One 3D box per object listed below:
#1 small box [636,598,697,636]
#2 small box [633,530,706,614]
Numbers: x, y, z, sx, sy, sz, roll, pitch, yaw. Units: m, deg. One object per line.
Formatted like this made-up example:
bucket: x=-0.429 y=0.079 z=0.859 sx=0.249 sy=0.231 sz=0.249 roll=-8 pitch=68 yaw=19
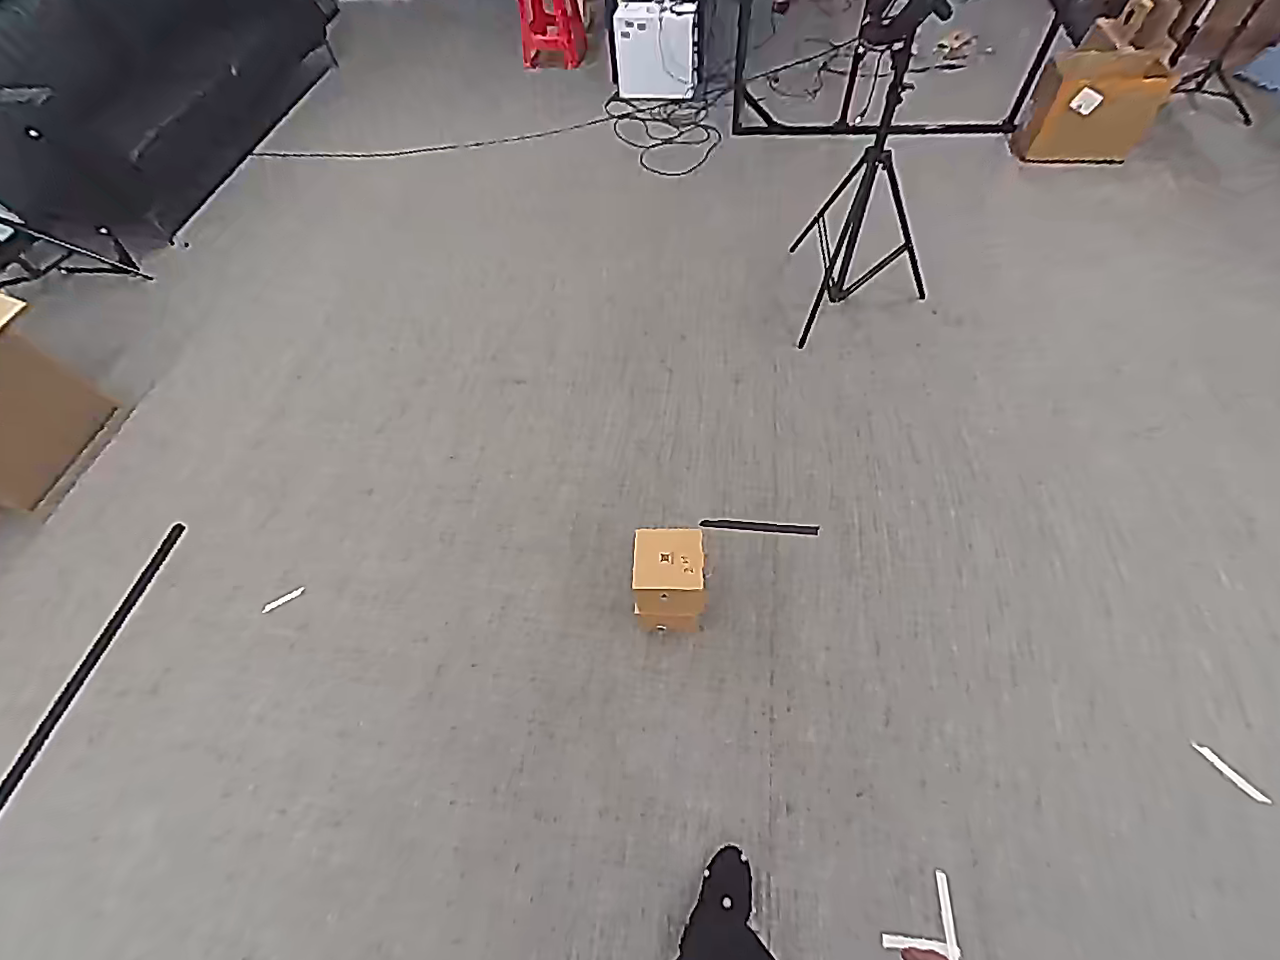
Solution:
small box: x=0.083 y=0.332 z=1.548 sx=0.168 sy=0.176 sz=0.179 roll=1 pitch=58 yaw=7
small box: x=0.082 y=0.242 z=1.410 sx=0.179 sy=0.176 sz=0.168 roll=0 pitch=58 yaw=6
